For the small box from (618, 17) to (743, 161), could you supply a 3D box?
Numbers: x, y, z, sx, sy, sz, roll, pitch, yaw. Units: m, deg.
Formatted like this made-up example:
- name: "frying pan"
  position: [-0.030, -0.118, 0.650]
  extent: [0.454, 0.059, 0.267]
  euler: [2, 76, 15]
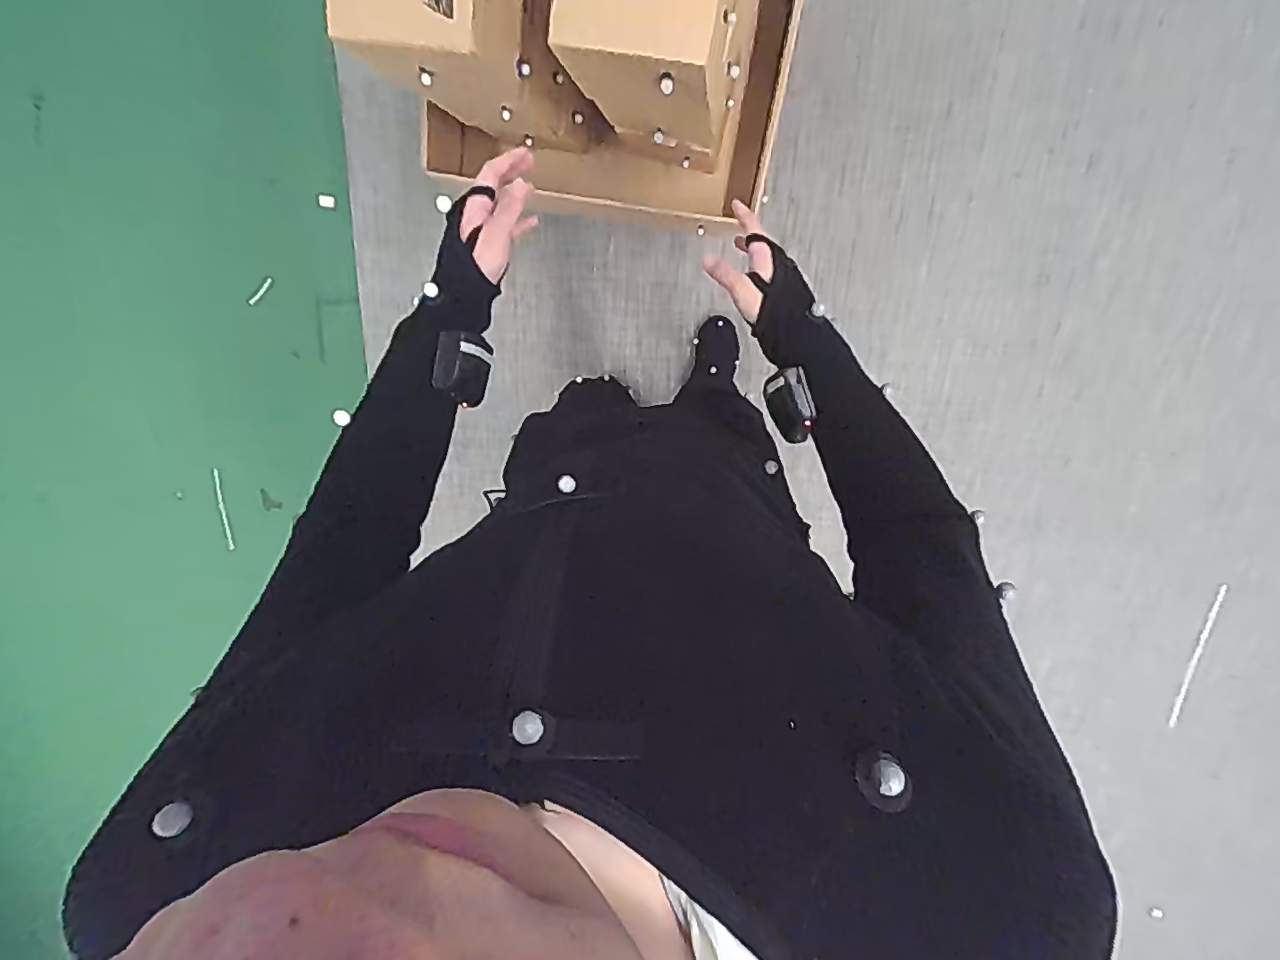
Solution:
- name: "small box"
  position: [0.076, -0.667, 0.921]
  extent: [0.168, 0.176, 0.179]
  euler: [16, 111, 5]

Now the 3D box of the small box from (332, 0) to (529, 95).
- name: "small box"
  position: [-0.244, -0.596, 0.659]
  extent: [0.179, 0.176, 0.168]
  euler: [11, 110, 8]

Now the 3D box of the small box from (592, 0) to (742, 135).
- name: "small box"
  position: [0.043, -0.615, 0.770]
  extent: [0.179, 0.176, 0.168]
  euler: [15, 111, 5]

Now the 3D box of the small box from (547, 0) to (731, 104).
- name: "small box"
  position: [0.012, -0.556, 0.618]
  extent: [0.179, 0.176, 0.168]
  euler: [13, 111, 7]
